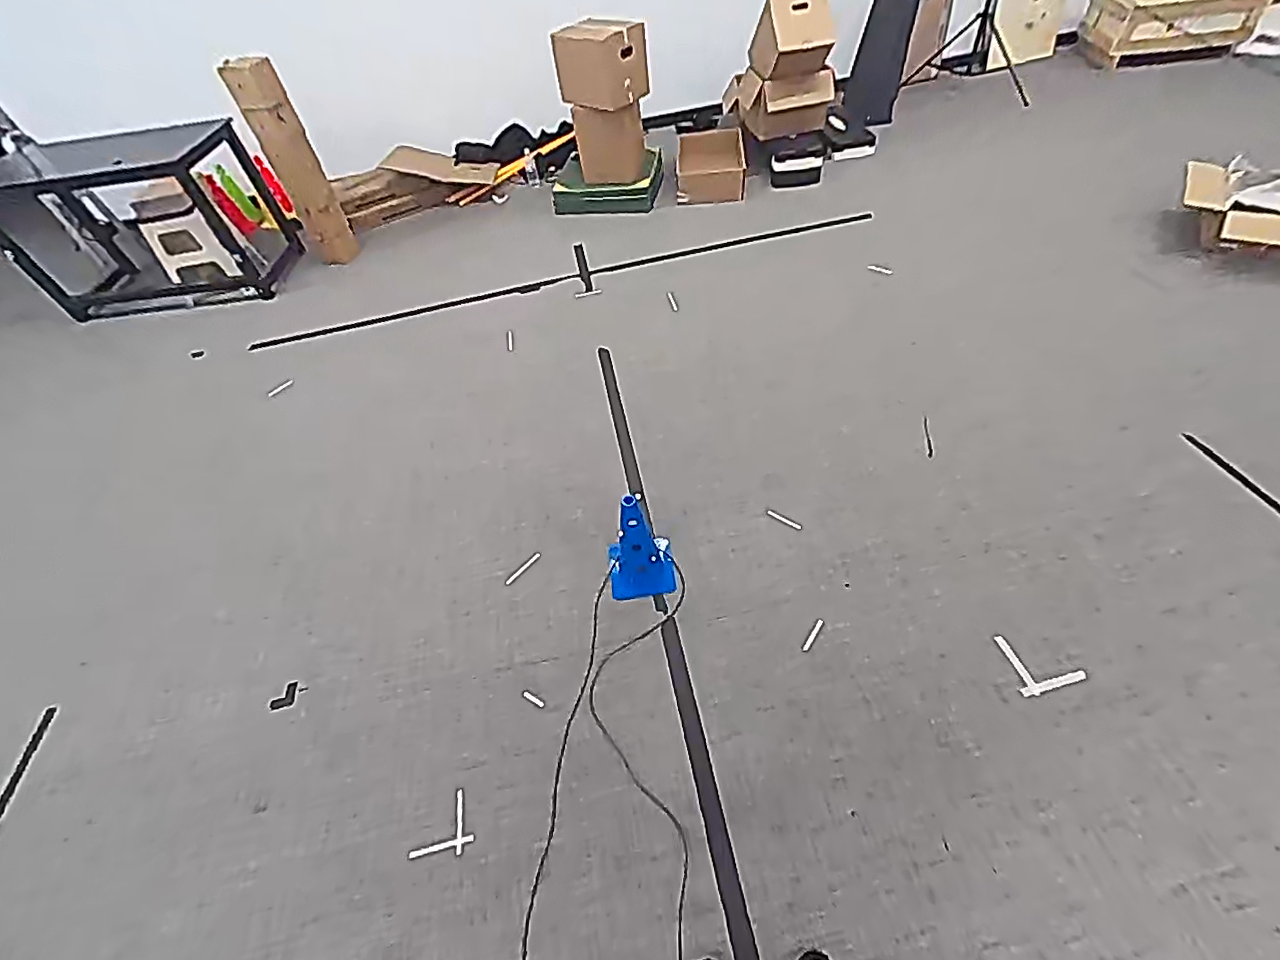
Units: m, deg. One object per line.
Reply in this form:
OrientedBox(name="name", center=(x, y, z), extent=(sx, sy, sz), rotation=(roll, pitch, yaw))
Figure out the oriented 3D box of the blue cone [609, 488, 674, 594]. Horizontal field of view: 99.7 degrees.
OrientedBox(name="blue cone", center=(-0.014, 0.159, 1.551), extent=(0.193, 0.380, 0.192), rotation=(-10, 50, 0))
